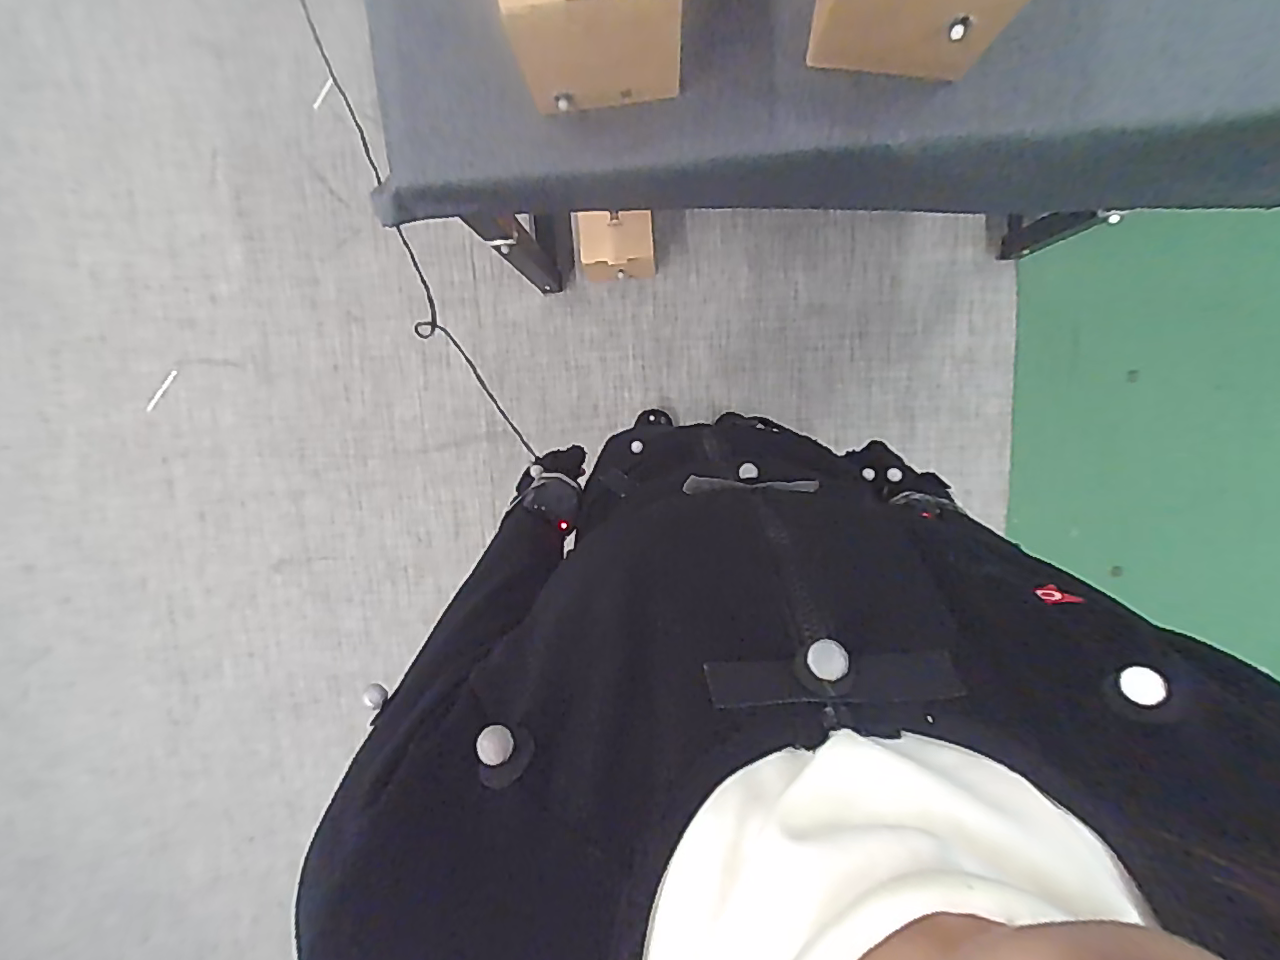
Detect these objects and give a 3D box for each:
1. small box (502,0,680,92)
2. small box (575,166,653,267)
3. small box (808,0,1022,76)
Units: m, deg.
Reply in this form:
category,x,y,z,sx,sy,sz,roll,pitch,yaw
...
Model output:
category,x,y,z,sx,sy,sz,roll,pitch,yaw
small box,-0.046,-0.527,0.545,0.168,0.176,0.179,-5,96,2
small box,-0.055,-0.608,1.273,0.168,0.176,0.179,-3,99,3
small box,0.284,-0.540,0.533,0.179,0.176,0.168,8,97,2
